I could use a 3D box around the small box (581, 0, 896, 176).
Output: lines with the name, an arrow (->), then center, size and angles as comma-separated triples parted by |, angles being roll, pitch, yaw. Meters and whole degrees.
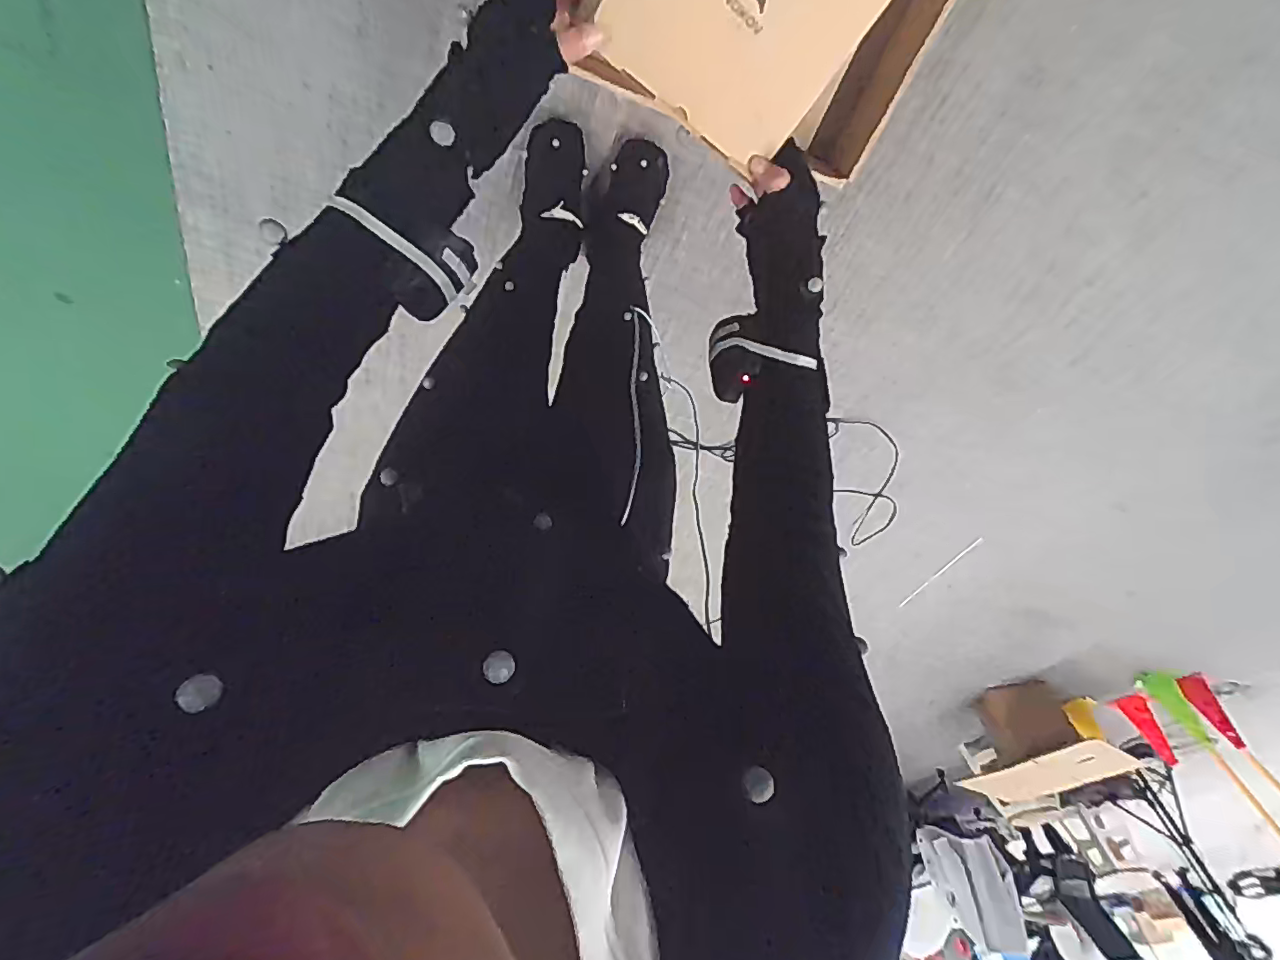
small box -> 0.067, -0.379, 0.402 | 0.168, 0.176, 0.179 | 20, 129, -32
